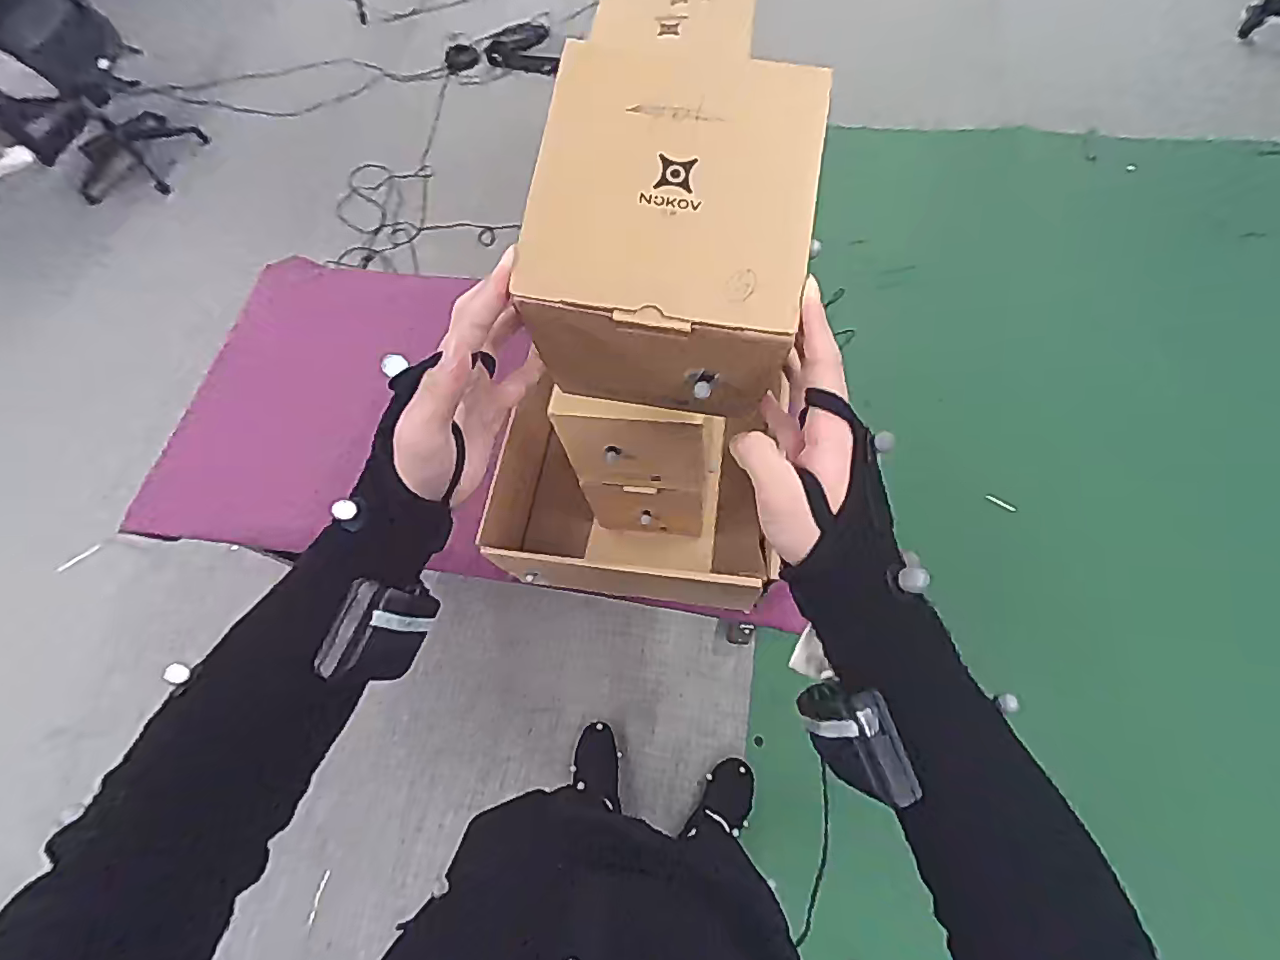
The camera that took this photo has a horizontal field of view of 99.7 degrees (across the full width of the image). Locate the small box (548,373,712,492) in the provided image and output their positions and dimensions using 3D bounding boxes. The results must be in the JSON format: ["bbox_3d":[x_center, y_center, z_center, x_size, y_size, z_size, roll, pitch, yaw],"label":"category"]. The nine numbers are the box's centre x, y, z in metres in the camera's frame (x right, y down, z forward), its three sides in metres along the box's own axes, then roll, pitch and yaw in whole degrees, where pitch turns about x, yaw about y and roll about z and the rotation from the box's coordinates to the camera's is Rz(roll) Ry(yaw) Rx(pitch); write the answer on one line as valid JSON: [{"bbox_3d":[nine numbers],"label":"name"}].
[{"bbox_3d":[0.003,-0.098,0.661,0.168,0.176,0.179,5,64,9],"label":"small box"}]

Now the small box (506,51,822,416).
[{"bbox_3d":[0.019,-0.158,0.397,0.168,0.176,0.179,9,81,4],"label":"small box"}]

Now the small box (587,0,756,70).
[{"bbox_3d":[0.040,-0.419,0.621,0.168,0.176,0.179,6,67,9],"label":"small box"}]
